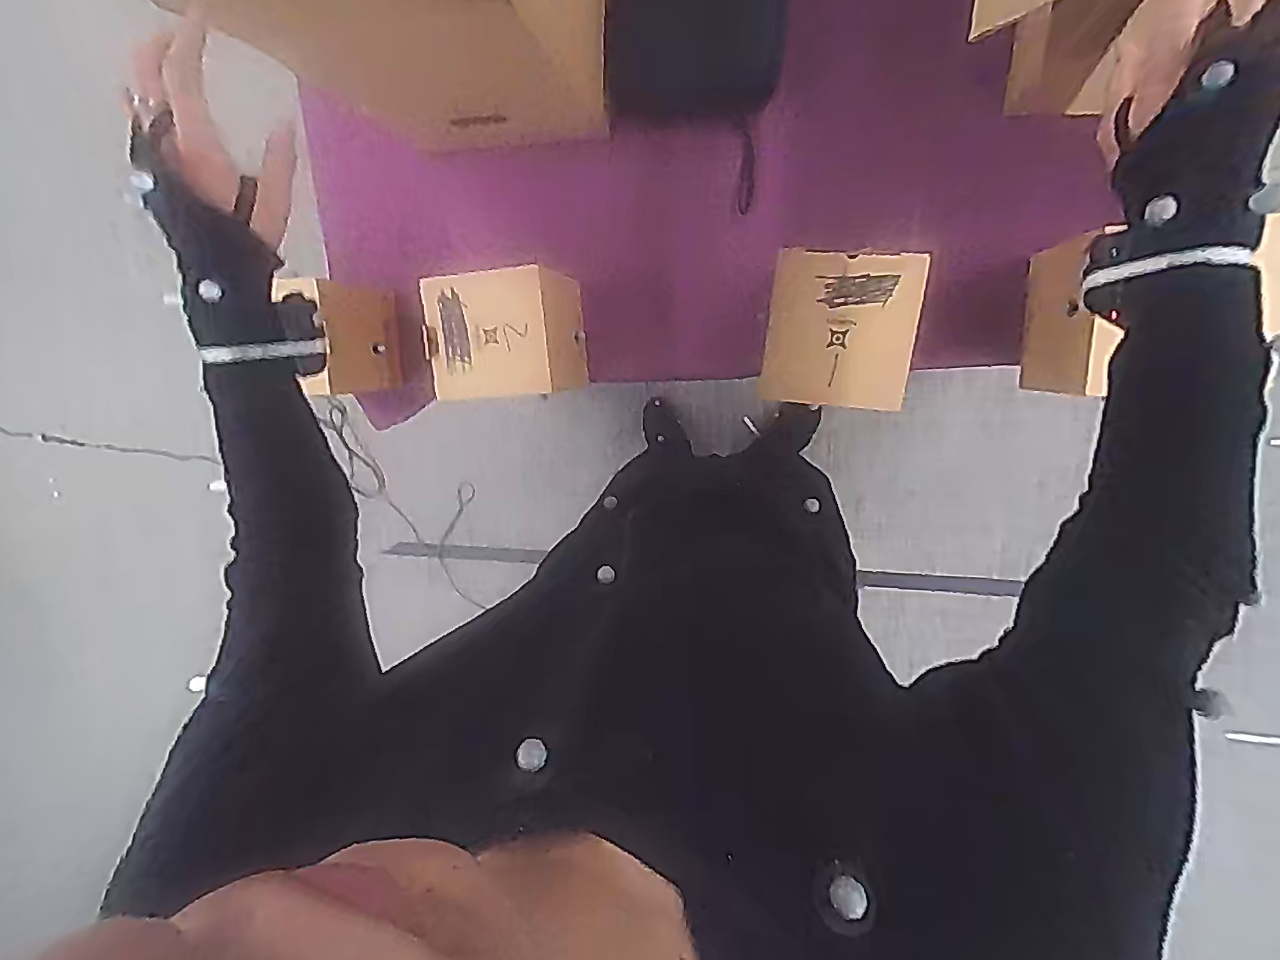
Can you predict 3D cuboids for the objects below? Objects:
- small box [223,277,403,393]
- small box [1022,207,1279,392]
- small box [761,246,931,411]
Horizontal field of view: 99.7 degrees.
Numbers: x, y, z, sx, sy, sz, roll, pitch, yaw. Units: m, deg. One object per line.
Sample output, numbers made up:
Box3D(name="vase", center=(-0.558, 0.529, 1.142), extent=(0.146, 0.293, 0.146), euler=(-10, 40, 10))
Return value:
Box3D(name="small box", center=(-0.514, -0.228, 0.872), extent=(0.179, 0.176, 0.168), euler=(2, 103, 11))
Box3D(name="small box", center=(0.575, -0.195, 0.626), extent=(0.168, 0.176, 0.179), euler=(1, 103, 14))
Box3D(name="small box", center=(0.251, -0.194, 0.704), extent=(0.168, 0.176, 0.179), euler=(8, 106, 11))
